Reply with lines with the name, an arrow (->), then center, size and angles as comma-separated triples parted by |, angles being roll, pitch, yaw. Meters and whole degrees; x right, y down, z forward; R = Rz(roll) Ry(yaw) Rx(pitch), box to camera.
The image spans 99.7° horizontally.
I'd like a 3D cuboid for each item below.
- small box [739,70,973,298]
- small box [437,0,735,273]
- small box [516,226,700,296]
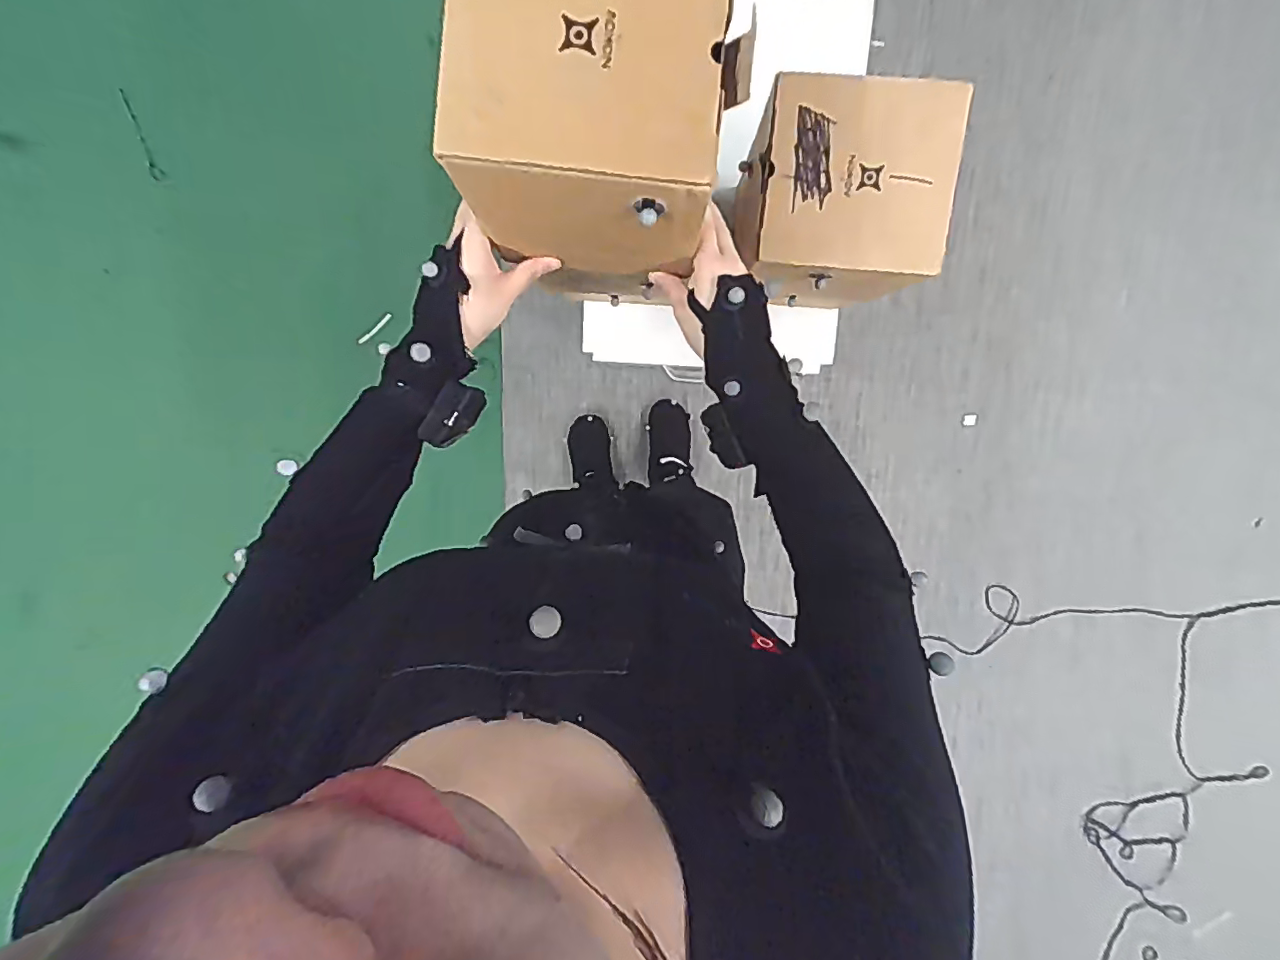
small box -> 0.207, -0.295, 0.576 | 0.179, 0.176, 0.168 | 5, 101, 1
small box -> -0.032, -0.272, 0.411 | 0.179, 0.176, 0.168 | 5, 91, -2
small box -> -0.028, -0.299, 0.584 | 0.179, 0.176, 0.168 | 2, 100, 0
